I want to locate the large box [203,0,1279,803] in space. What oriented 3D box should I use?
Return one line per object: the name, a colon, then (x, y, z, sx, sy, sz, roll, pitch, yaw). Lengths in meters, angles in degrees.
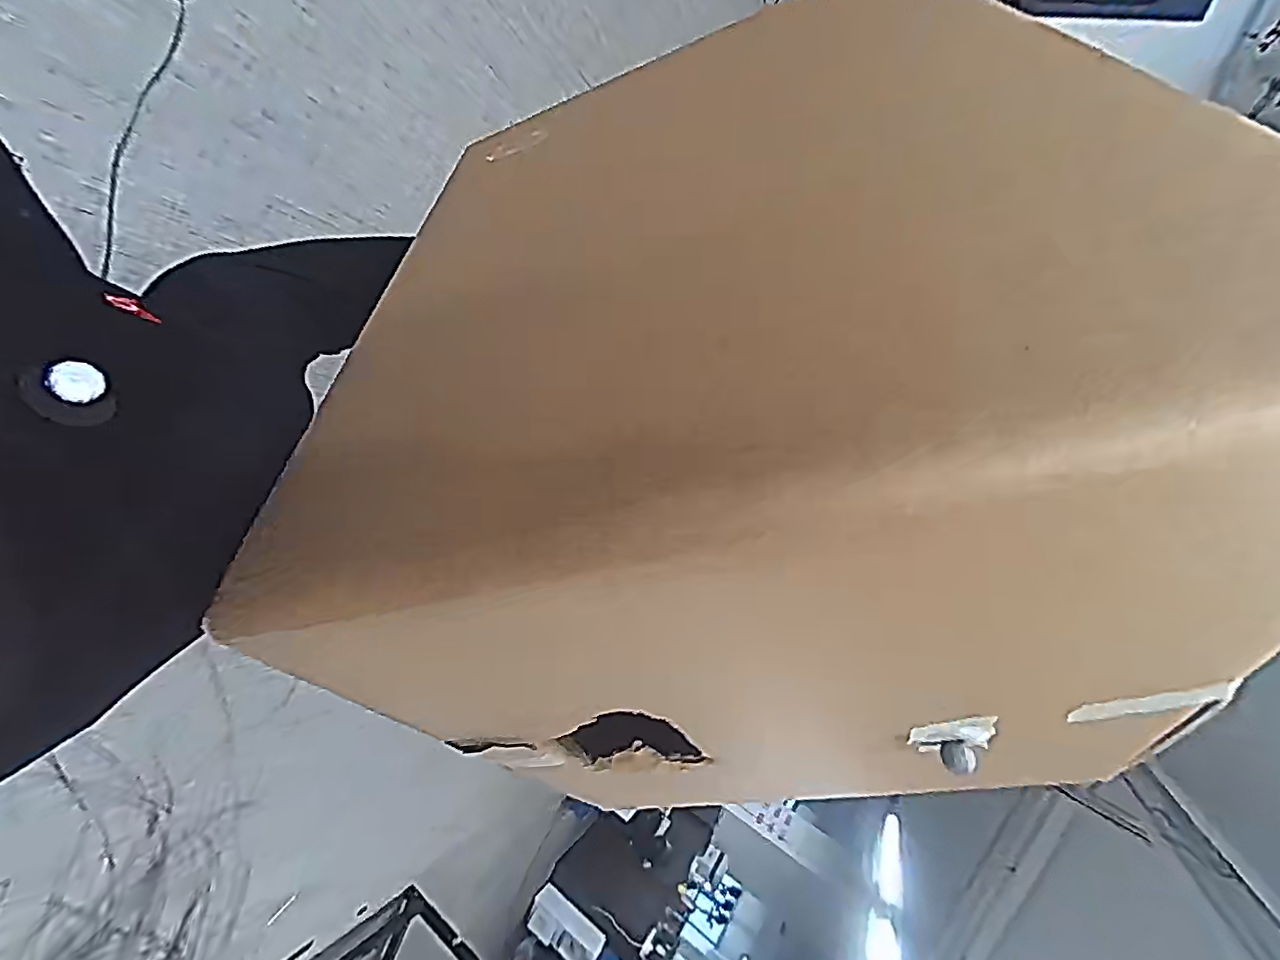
large box: (0.055, -0.044, 0.366, 0.320, 0.320, 0.408, 62, 22, -45)
